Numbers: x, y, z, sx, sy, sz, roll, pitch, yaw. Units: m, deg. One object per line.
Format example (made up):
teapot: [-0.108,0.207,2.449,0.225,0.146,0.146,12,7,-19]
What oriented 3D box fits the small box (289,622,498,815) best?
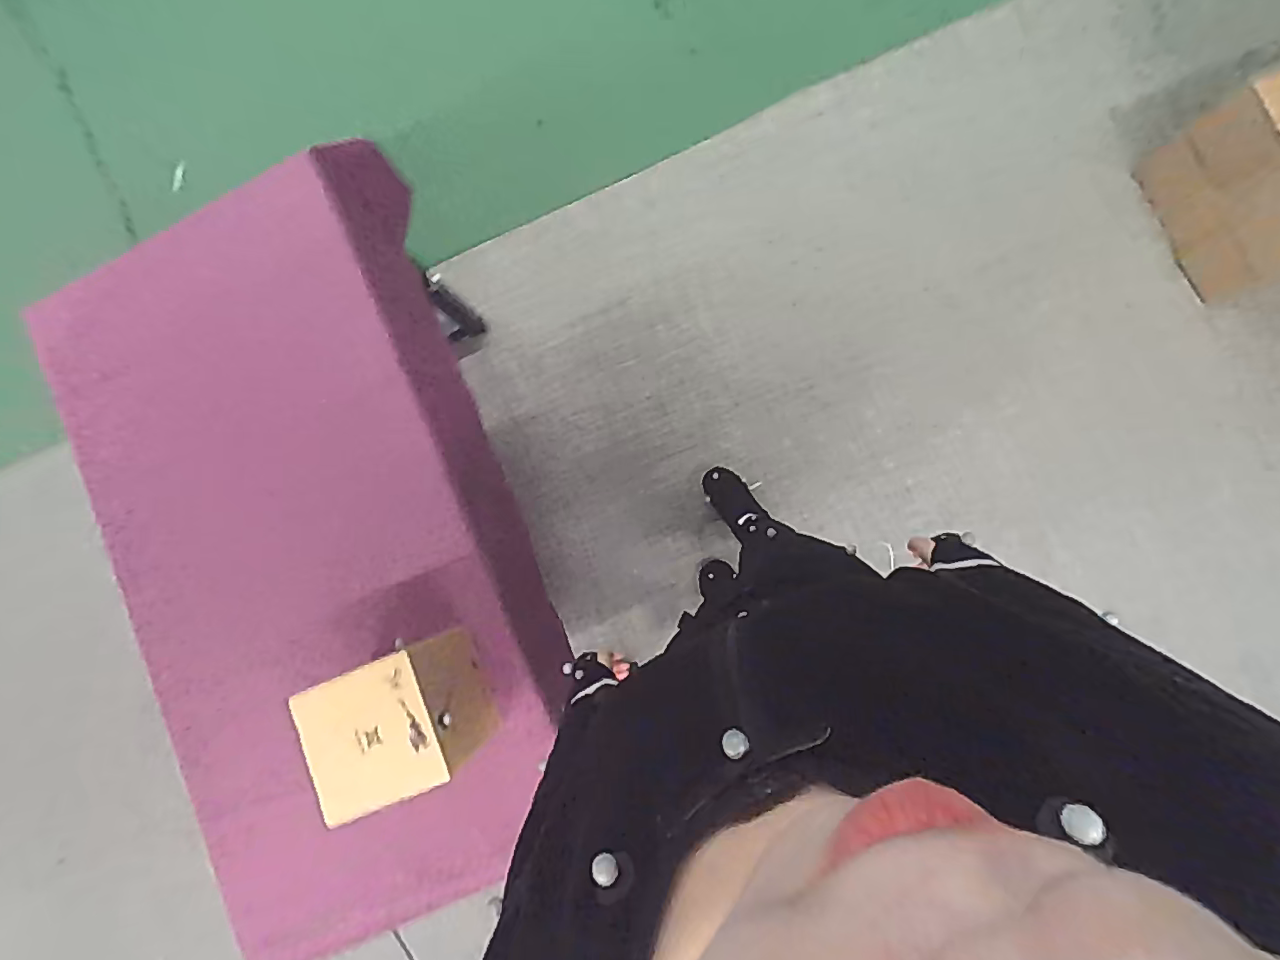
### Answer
small box: [-0.328,0.315,0.748,0.179,0.176,0.168,-23,84,7]
